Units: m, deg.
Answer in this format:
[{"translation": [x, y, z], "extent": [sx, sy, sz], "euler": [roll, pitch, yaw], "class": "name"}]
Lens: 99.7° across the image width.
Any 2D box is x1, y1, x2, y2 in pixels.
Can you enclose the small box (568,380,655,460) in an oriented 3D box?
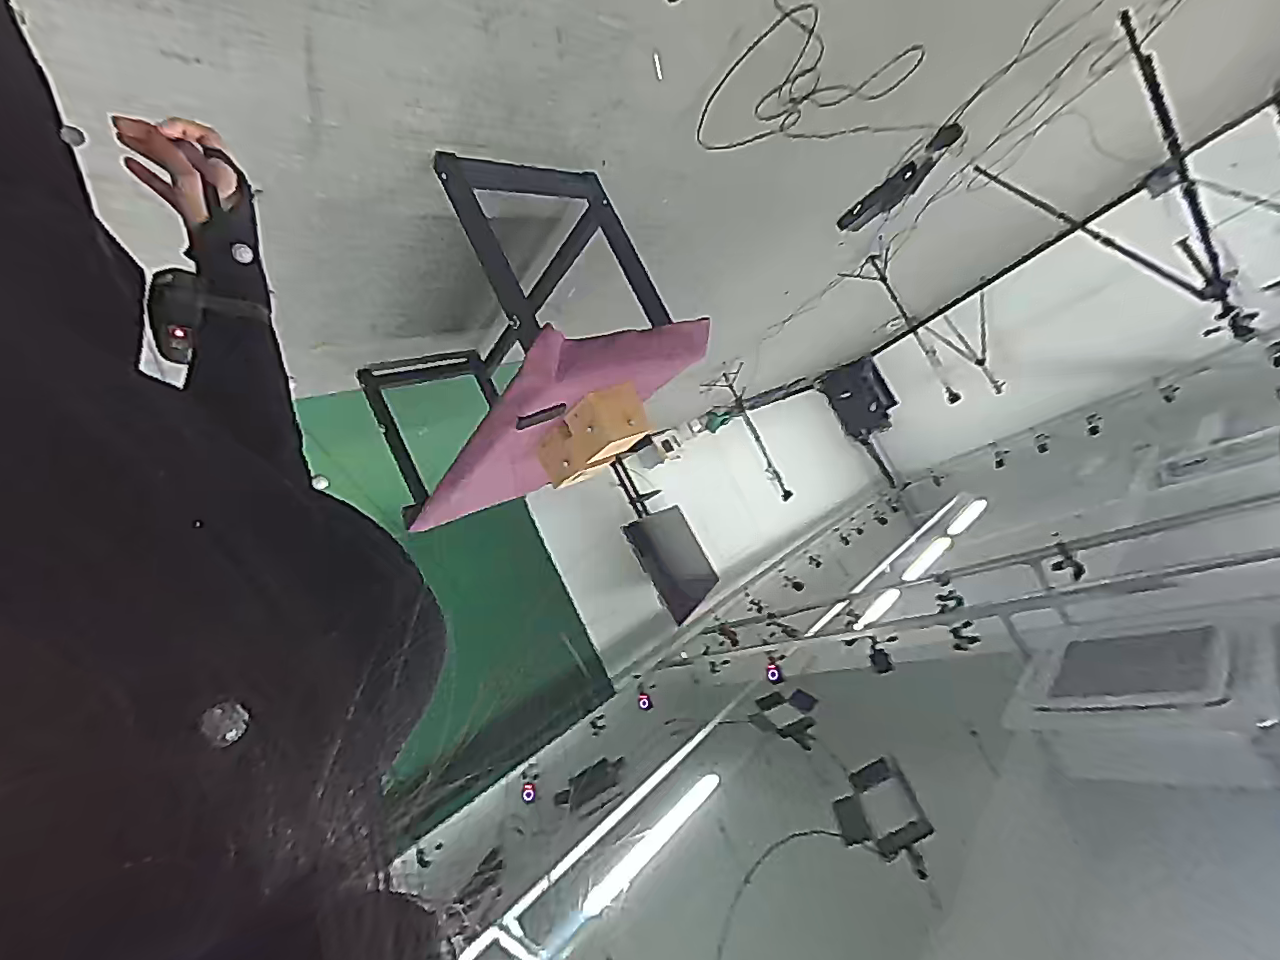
[{"translation": [-0.093, -0.188, 1.668], "extent": [0.179, 0.176, 0.168], "euler": [-23, 173, -40], "class": "small box"}]
